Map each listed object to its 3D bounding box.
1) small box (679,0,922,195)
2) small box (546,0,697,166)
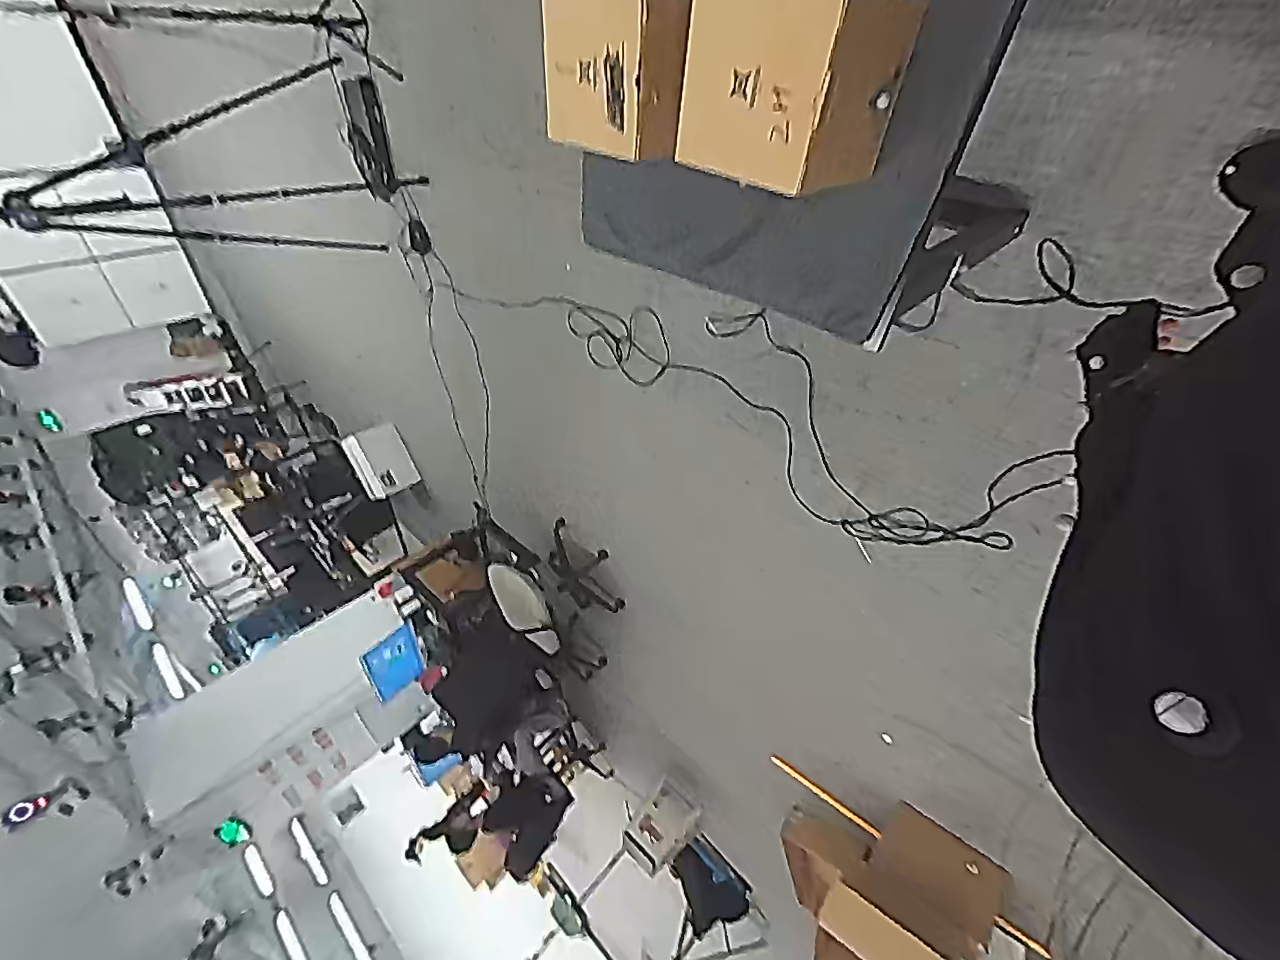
[{"bbox_3d":[0.171,-0.435,0.601,0.179,0.176,0.168,35,139,29],"label":"small box"},{"bbox_3d":[-0.002,-0.539,0.724,0.179,0.176,0.168,33,138,30],"label":"small box"}]
